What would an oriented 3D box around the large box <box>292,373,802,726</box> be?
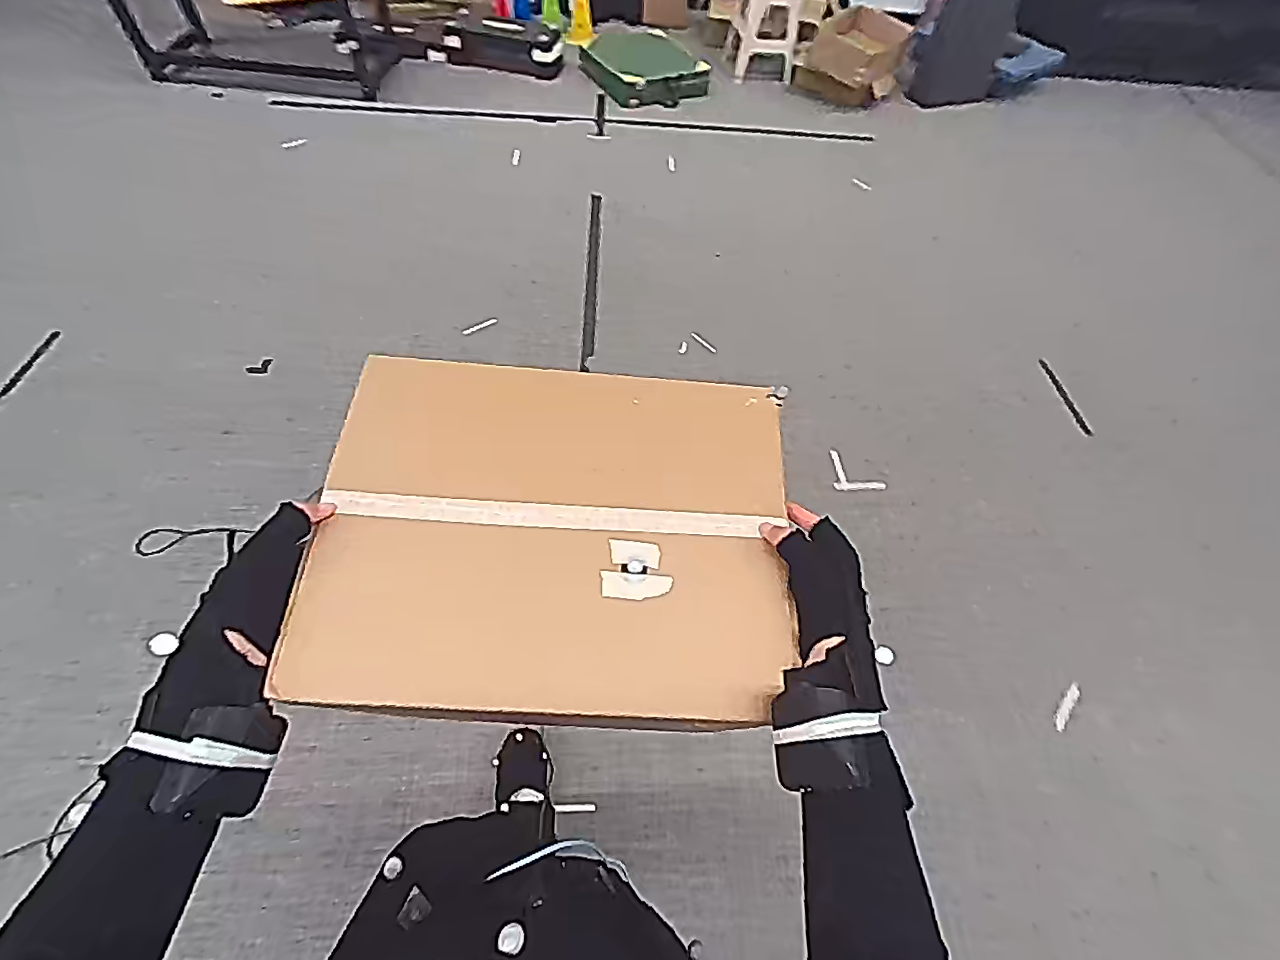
[{"bbox_3d":[-0.079,0.106,0.617,0.408,0.320,0.320,4,65,-4],"label":"large box"}]
